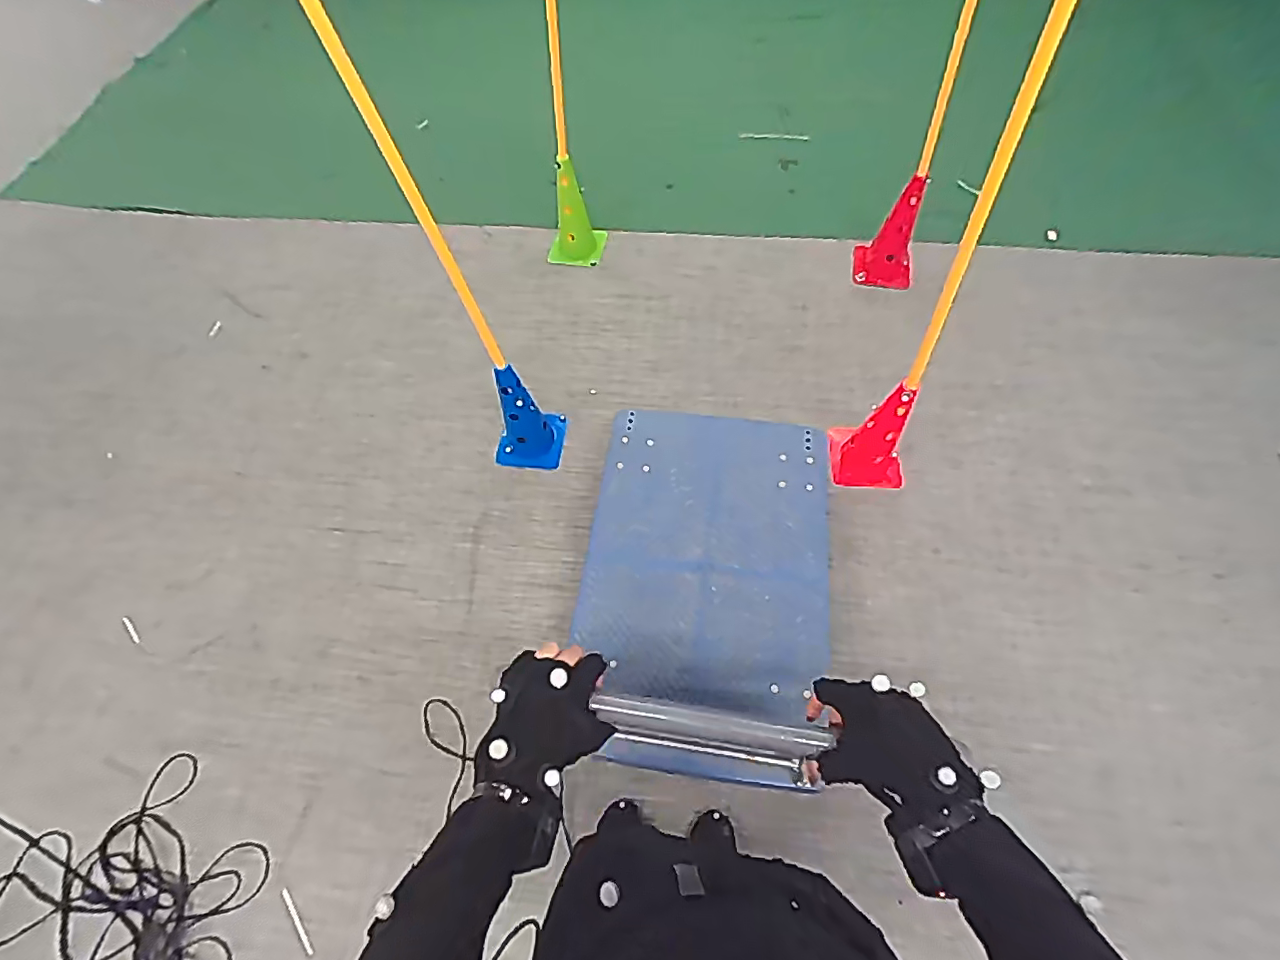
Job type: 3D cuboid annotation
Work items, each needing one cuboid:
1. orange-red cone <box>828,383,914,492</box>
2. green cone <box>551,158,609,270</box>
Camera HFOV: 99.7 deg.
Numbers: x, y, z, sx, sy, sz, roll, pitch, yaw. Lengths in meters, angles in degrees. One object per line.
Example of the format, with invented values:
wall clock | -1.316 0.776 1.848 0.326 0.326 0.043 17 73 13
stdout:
orange-red cone | 0.658 -0.137 1.470 0.199 0.360 0.198 4 62 6
green cone | -0.242 -0.974 1.950 0.202 0.368 0.200 9 62 8
